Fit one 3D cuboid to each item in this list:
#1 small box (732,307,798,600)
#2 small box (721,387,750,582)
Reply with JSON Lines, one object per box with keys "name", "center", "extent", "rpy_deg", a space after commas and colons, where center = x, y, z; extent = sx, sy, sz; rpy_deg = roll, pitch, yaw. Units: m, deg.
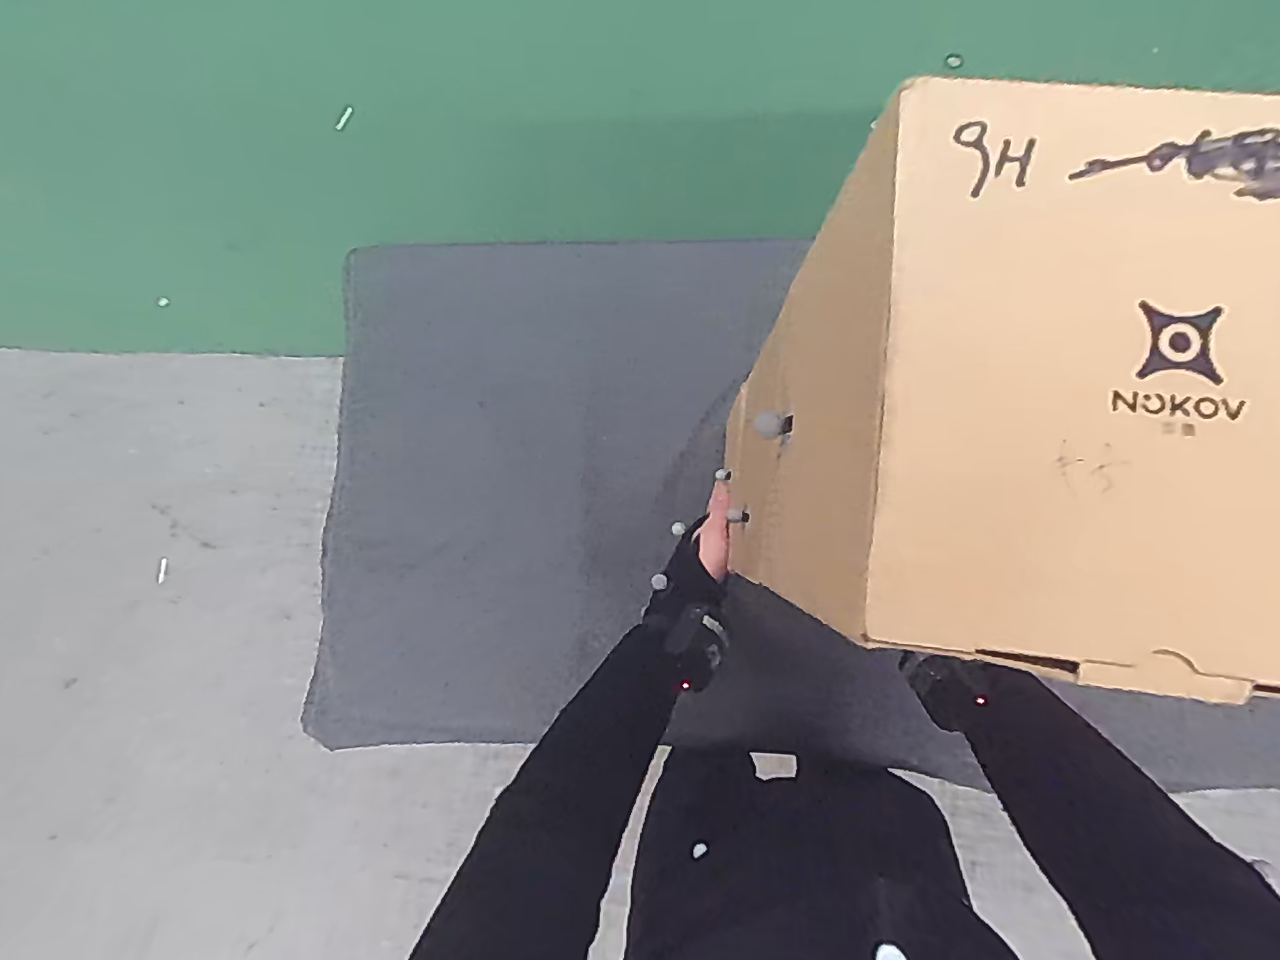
{"name": "small box", "center": [0.162, -0.004, 0.393], "extent": [0.168, 0.176, 0.179], "rpy_deg": [5, 84, 3]}
{"name": "small box", "center": [0.174, 0.015, 0.553], "extent": [0.168, 0.176, 0.179], "rpy_deg": [4, 84, 5]}
